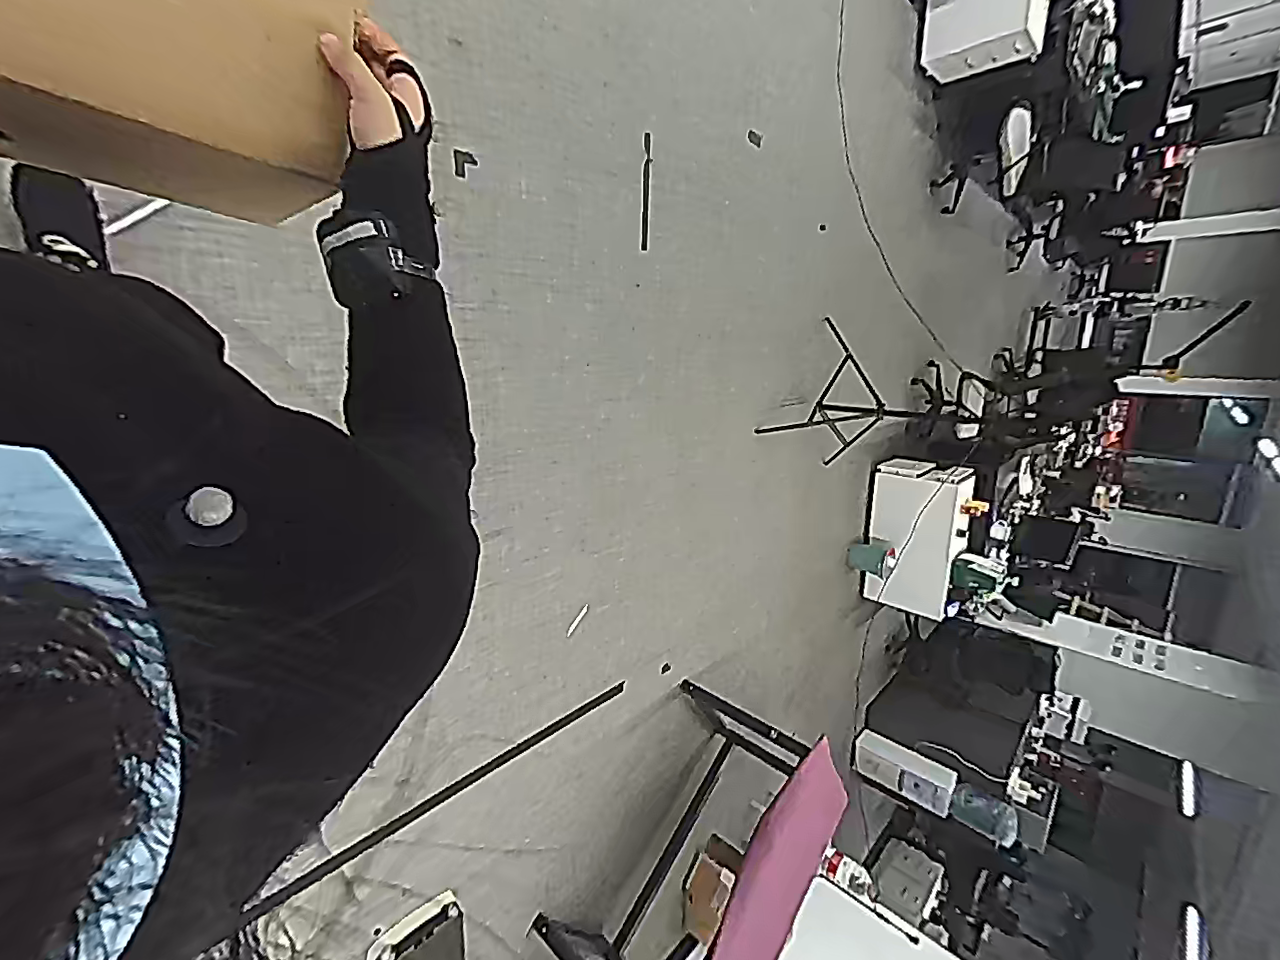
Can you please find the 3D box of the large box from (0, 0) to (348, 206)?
[{"bbox_3d":[-0.468,-0.432,0.389,0.408,0.320,0.320,-1,104,-43],"label":"large box"}]
